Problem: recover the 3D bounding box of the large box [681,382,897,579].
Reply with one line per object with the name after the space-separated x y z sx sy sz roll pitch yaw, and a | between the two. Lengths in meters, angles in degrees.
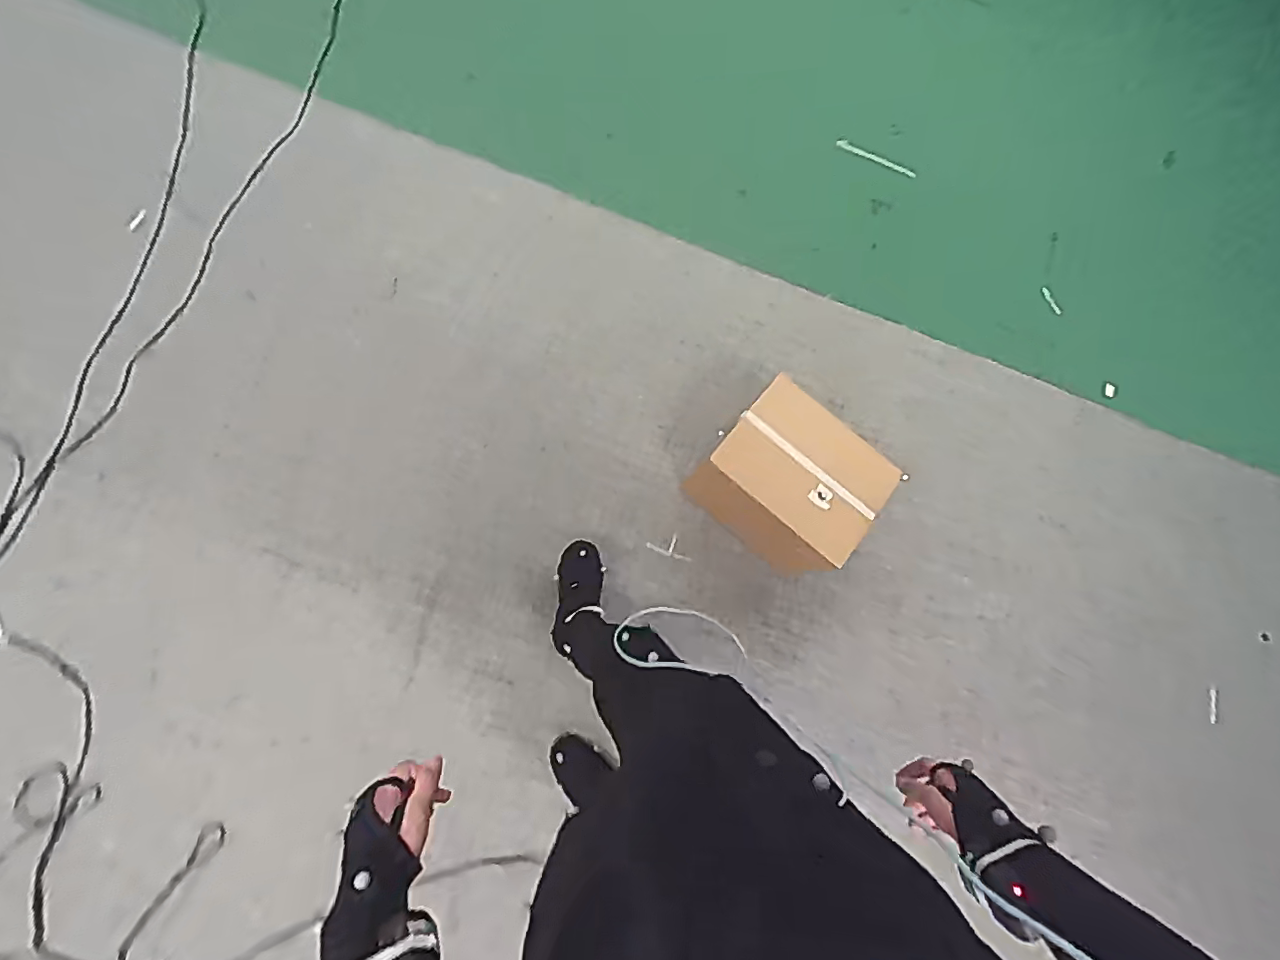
0.382 0.016 1.467 0.408 0.320 0.320 40 73 3 | large box
